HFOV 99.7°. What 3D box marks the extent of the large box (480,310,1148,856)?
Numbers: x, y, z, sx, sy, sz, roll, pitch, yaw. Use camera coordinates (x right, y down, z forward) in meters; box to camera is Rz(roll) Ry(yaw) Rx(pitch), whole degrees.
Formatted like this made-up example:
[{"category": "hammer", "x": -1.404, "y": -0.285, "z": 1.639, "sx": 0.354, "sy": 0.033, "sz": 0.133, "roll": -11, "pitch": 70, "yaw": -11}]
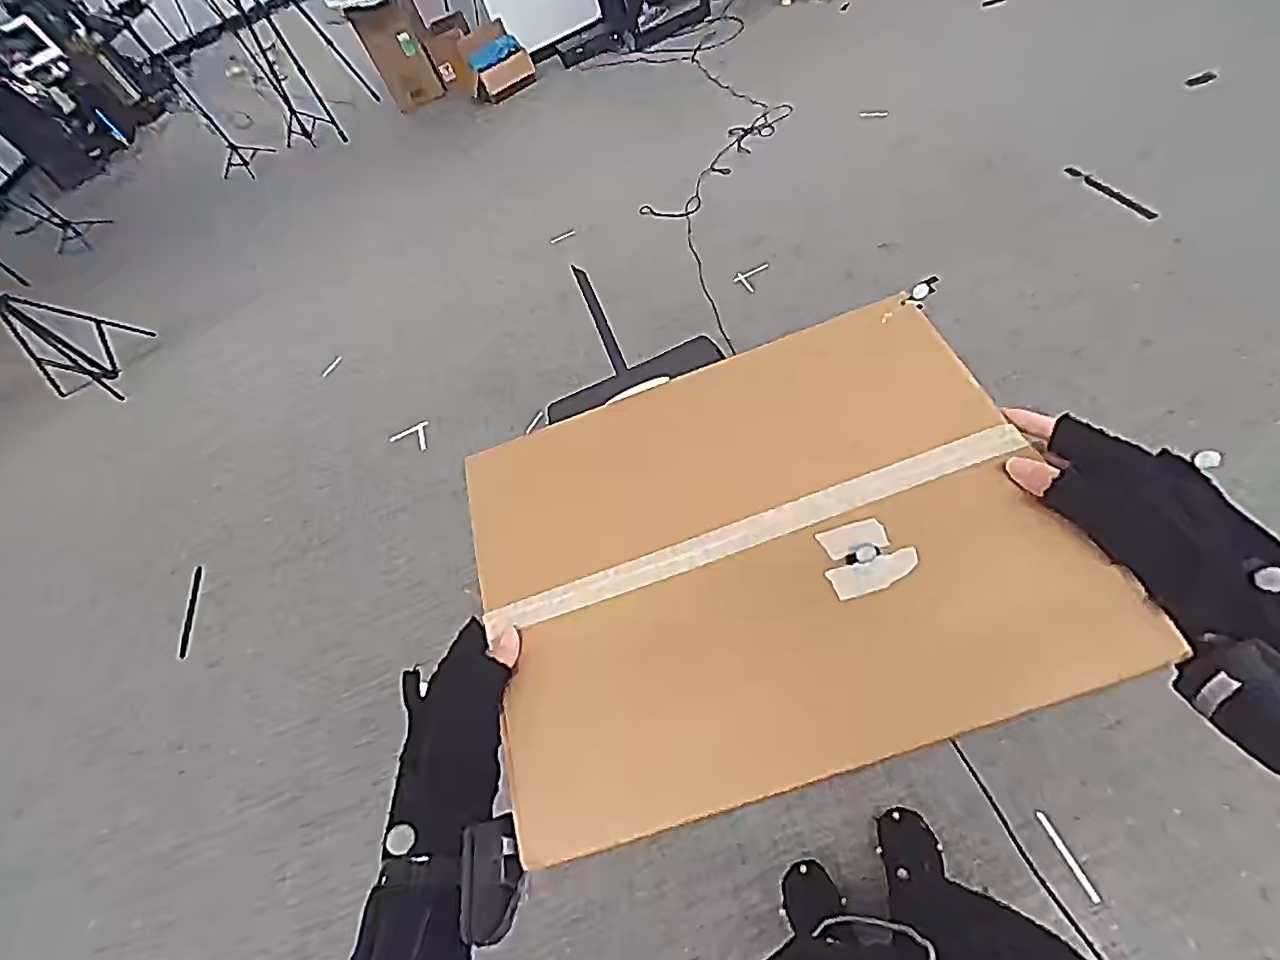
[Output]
[{"category": "large box", "x": 0.111, "y": 0.112, "z": 0.534, "sx": 0.408, "sy": 0.320, "sz": 0.320, "roll": -20, "pitch": 61, "yaw": 3}]
